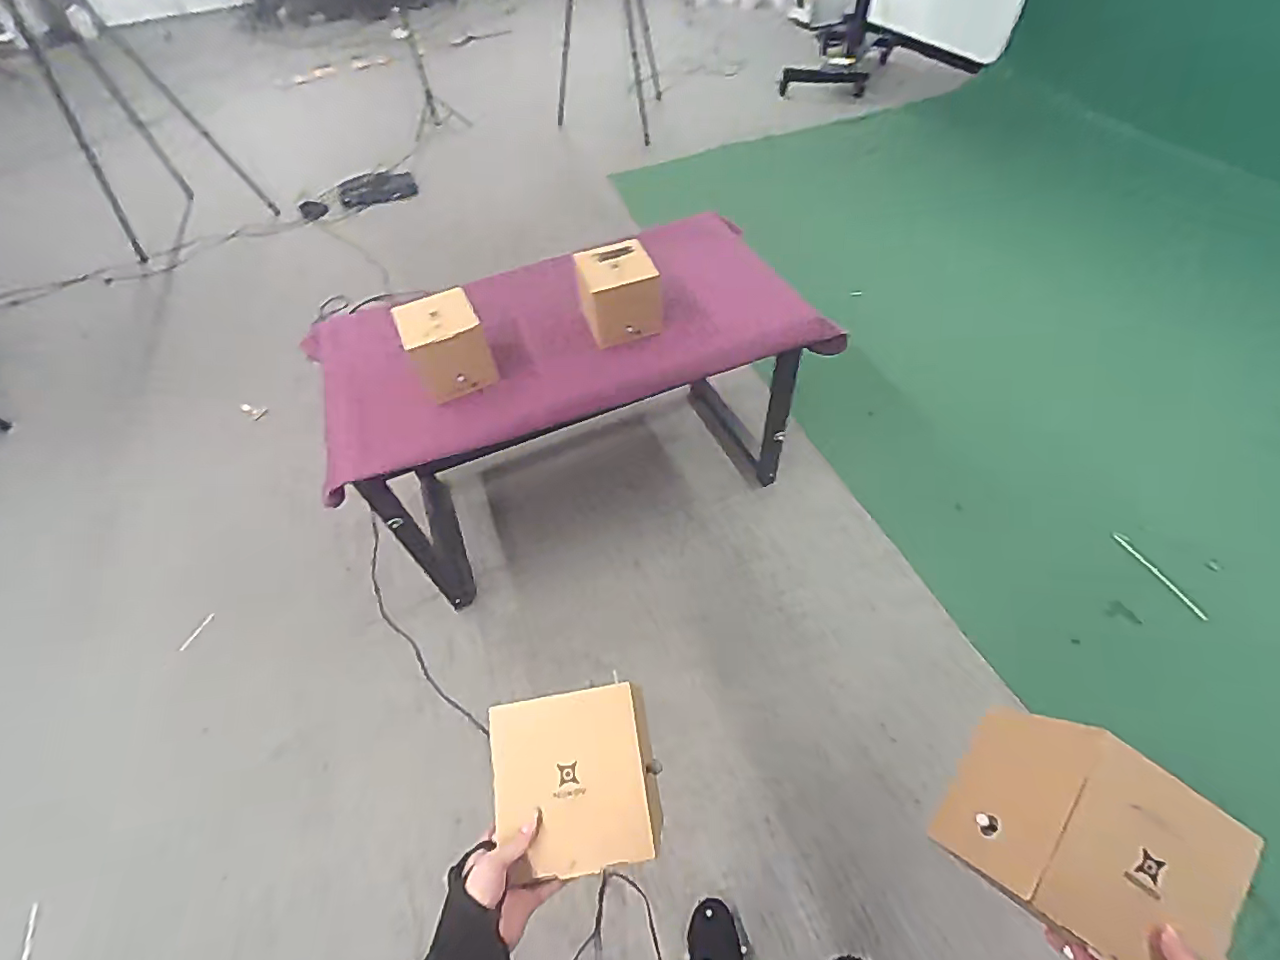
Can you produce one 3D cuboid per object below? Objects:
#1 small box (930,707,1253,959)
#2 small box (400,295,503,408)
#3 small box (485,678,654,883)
[{"bbox_3d":[0.439,0.365,0.559,0.168,0.176,0.179,35,76,6],"label":"small box"},{"bbox_3d":[-0.444,-0.303,1.285,0.168,0.176,0.179,-23,54,-12],"label":"small box"},{"bbox_3d":[-0.079,0.349,0.657,0.168,0.176,0.179,-11,69,0],"label":"small box"}]
